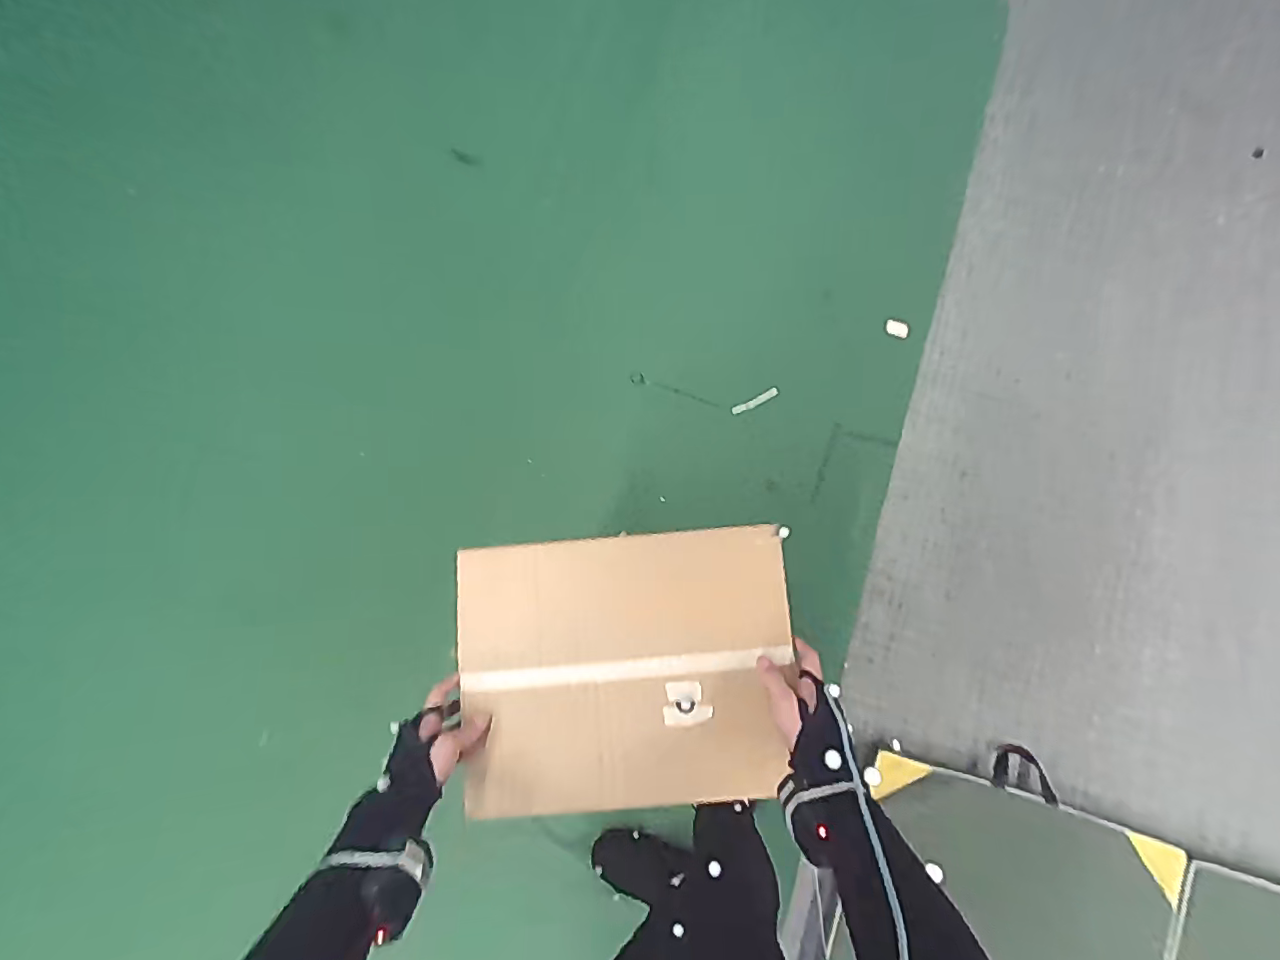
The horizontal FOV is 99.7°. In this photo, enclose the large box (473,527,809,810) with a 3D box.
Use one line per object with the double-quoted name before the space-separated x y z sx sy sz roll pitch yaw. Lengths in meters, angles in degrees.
"large box" -0.006 0.256 0.814 0.408 0.320 0.320 -4 80 0
